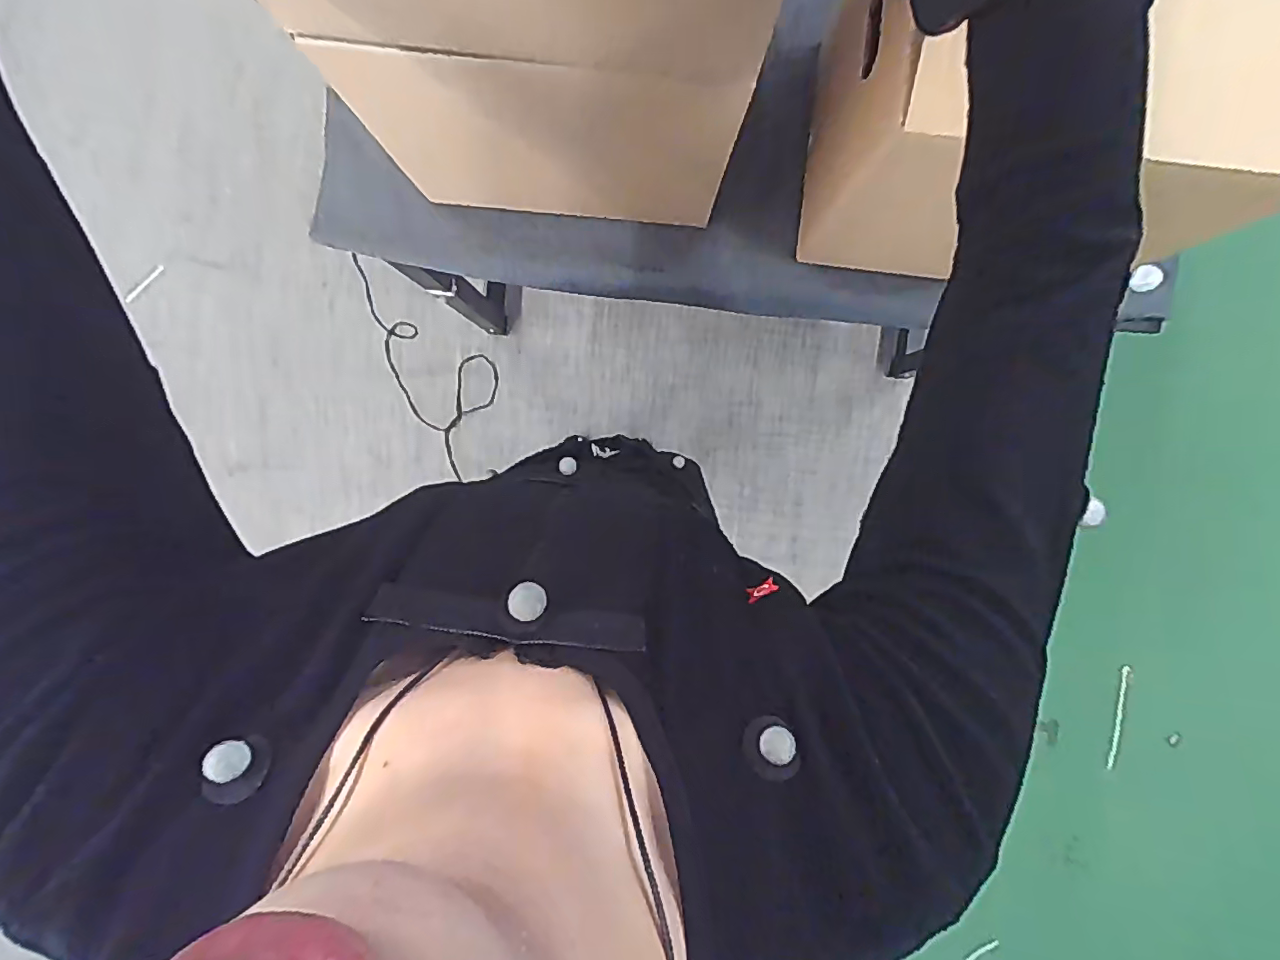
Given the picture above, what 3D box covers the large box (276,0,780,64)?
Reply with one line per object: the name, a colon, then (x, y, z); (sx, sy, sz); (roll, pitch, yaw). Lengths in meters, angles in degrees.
large box: (-0.084, -0.499, 0.297); (0.408, 0.320, 0.320); (5, 96, -1)
